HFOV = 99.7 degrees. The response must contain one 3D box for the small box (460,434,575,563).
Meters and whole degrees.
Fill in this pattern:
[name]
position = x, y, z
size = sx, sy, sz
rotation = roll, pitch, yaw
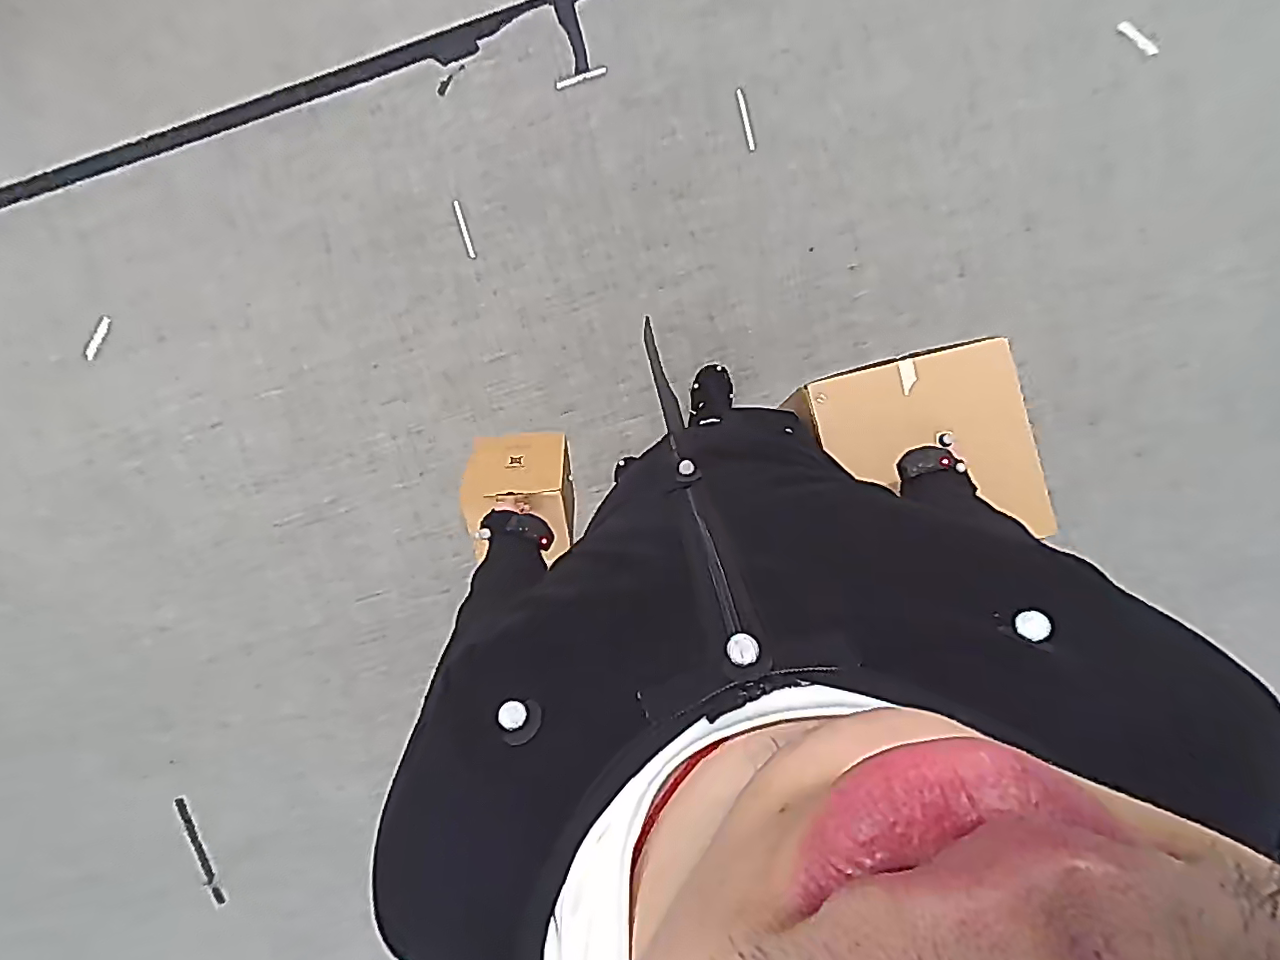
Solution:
[small box]
position = -0.209, 0.037, 0.976
size = 0.168, 0.179, 0.176
rotation = -3, 128, -2
